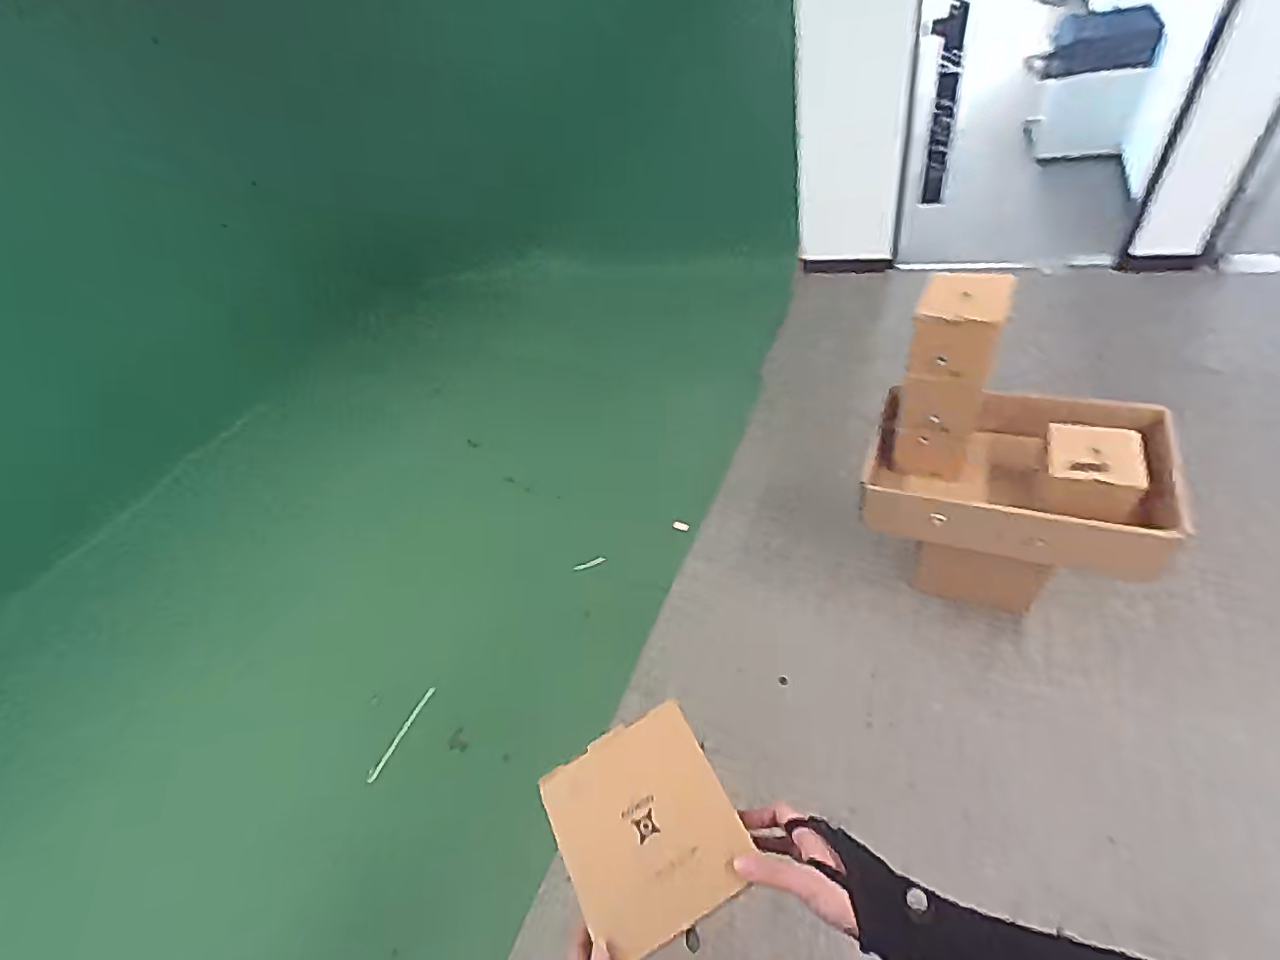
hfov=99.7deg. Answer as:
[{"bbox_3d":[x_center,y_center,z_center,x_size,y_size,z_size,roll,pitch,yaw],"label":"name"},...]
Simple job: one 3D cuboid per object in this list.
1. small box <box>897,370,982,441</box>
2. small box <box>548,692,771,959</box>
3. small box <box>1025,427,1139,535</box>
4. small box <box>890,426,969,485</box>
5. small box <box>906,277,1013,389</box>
[{"bbox_3d":[0.744,-0.225,1.334,0.168,0.176,0.179,14,54,29],"label":"small box"},{"bbox_3d":[0.022,0.368,0.582,0.168,0.176,0.179,-26,52,-8],"label":"small box"},{"bbox_3d":[1.021,0.004,1.262,0.168,0.176,0.179,11,51,25],"label":"small box"},{"bbox_3d":[0.779,-0.115,1.452,0.168,0.176,0.179,12,53,27],"label":"small box"},{"bbox_3d":[0.711,-0.332,1.218,0.168,0.176,0.179,16,55,29],"label":"small box"}]
